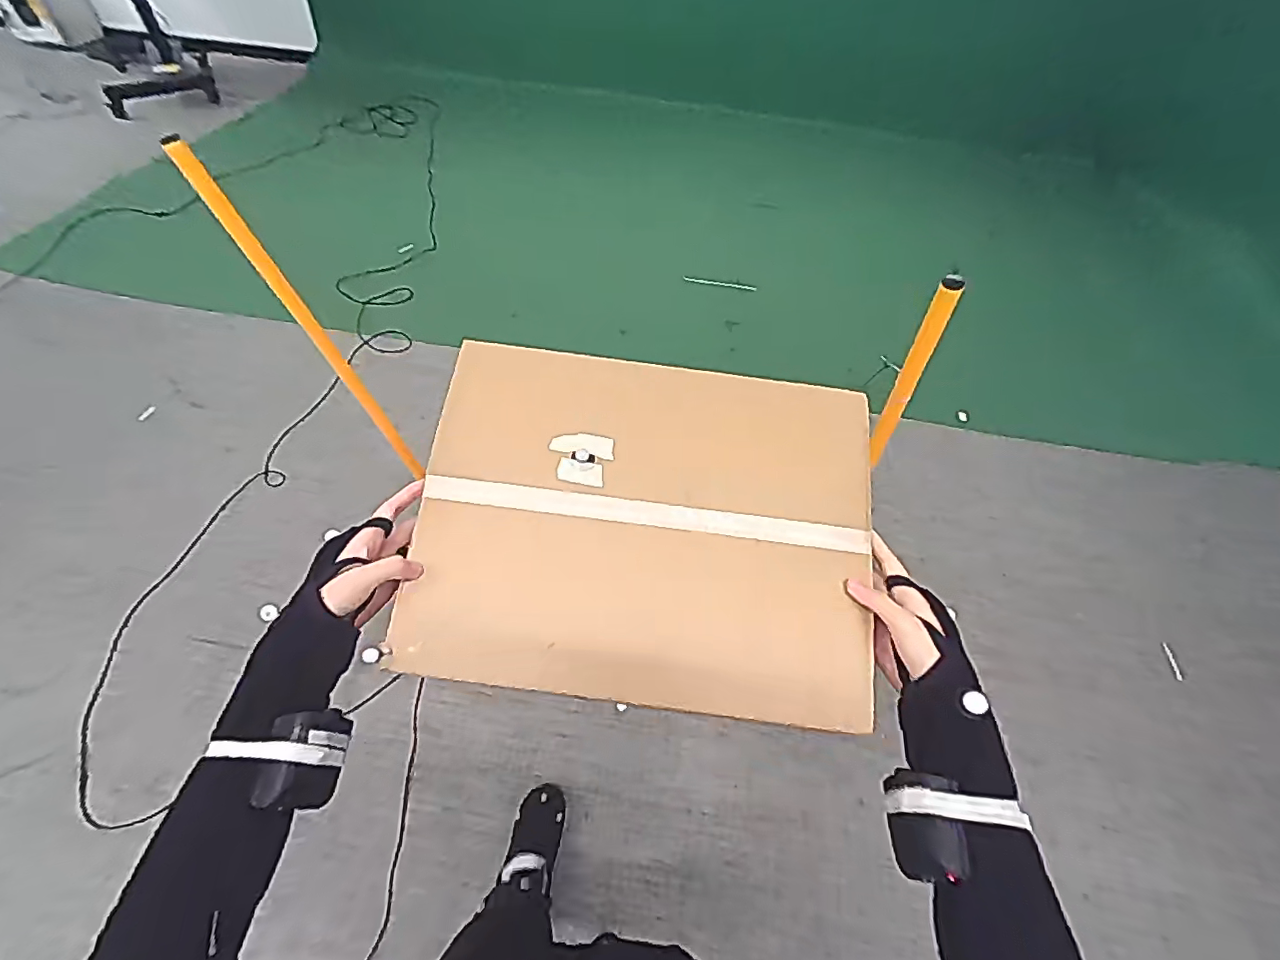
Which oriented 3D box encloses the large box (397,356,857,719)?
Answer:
[{"bbox_3d":[0.003,0.082,0.646,0.408,0.320,0.320,7,71,1],"label":"large box"}]
